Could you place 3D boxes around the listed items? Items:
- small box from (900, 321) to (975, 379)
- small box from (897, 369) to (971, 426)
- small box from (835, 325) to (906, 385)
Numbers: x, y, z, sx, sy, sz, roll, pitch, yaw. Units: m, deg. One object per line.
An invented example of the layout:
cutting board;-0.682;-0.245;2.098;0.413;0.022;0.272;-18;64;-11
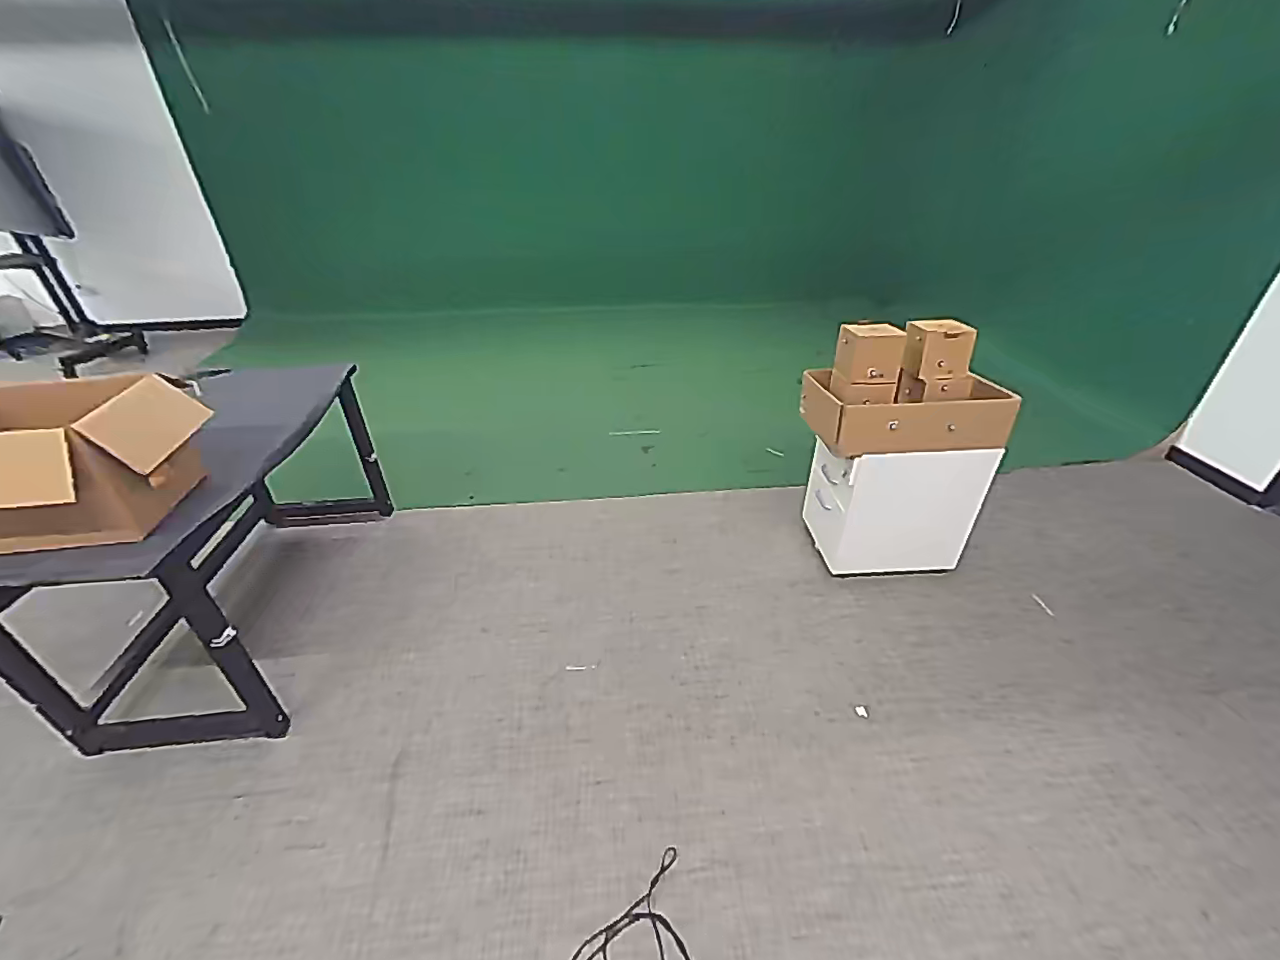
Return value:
small box;1.046;-0.463;1.923;0.168;0.176;0.179;-1;28;2
small box;1.062;-0.306;1.972;0.168;0.176;0.179;-5;27;0
small box;0.795;-0.439;1.888;0.168;0.176;0.179;-2;29;-1
